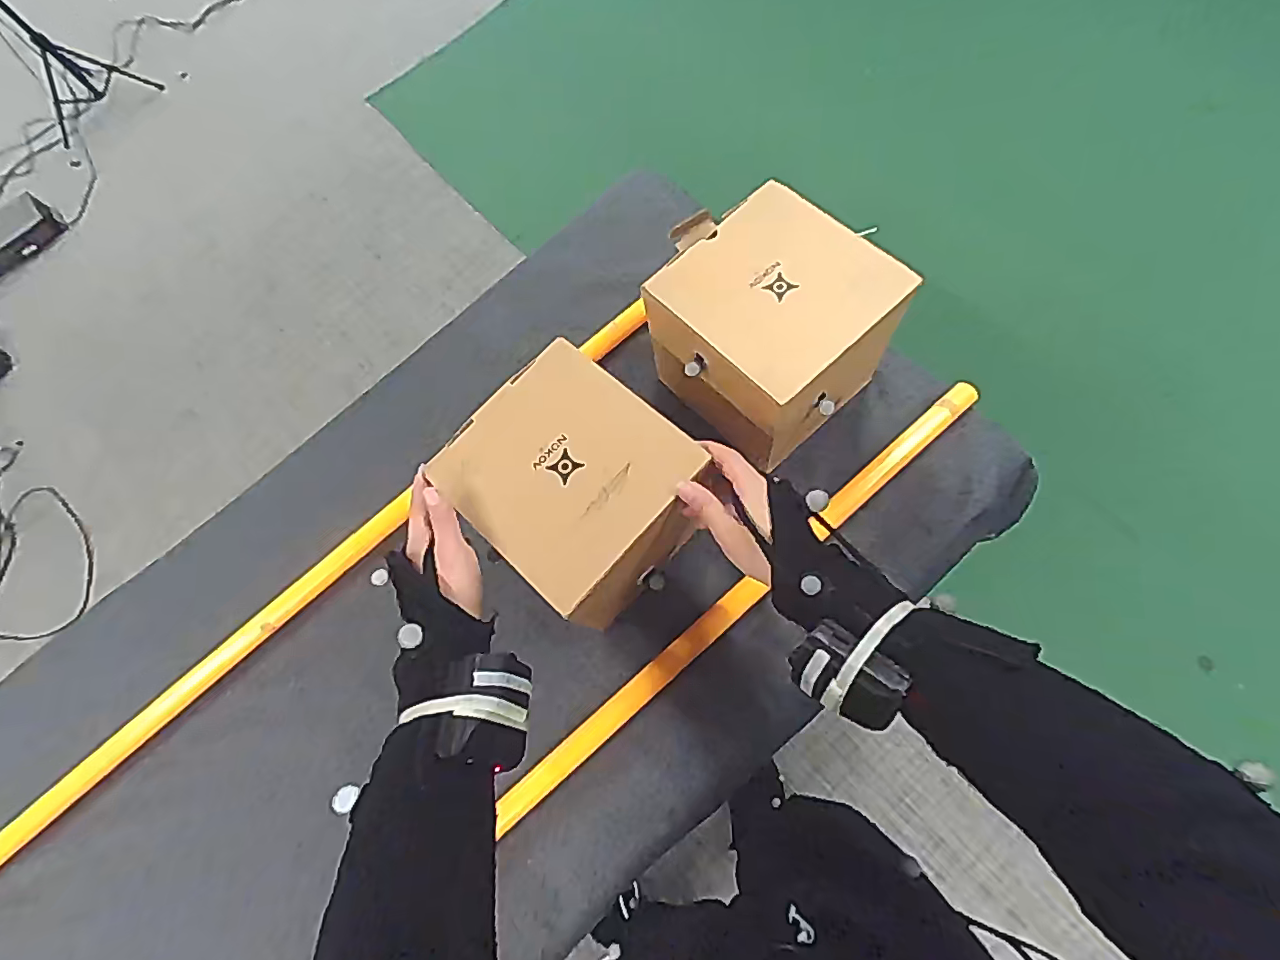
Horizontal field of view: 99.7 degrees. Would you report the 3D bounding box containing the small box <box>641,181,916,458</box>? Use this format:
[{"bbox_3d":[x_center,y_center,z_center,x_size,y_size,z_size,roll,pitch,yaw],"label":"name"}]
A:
[{"bbox_3d":[0.128,-0.143,0.542,0.168,0.176,0.179,-42,69,-6],"label":"small box"}]
